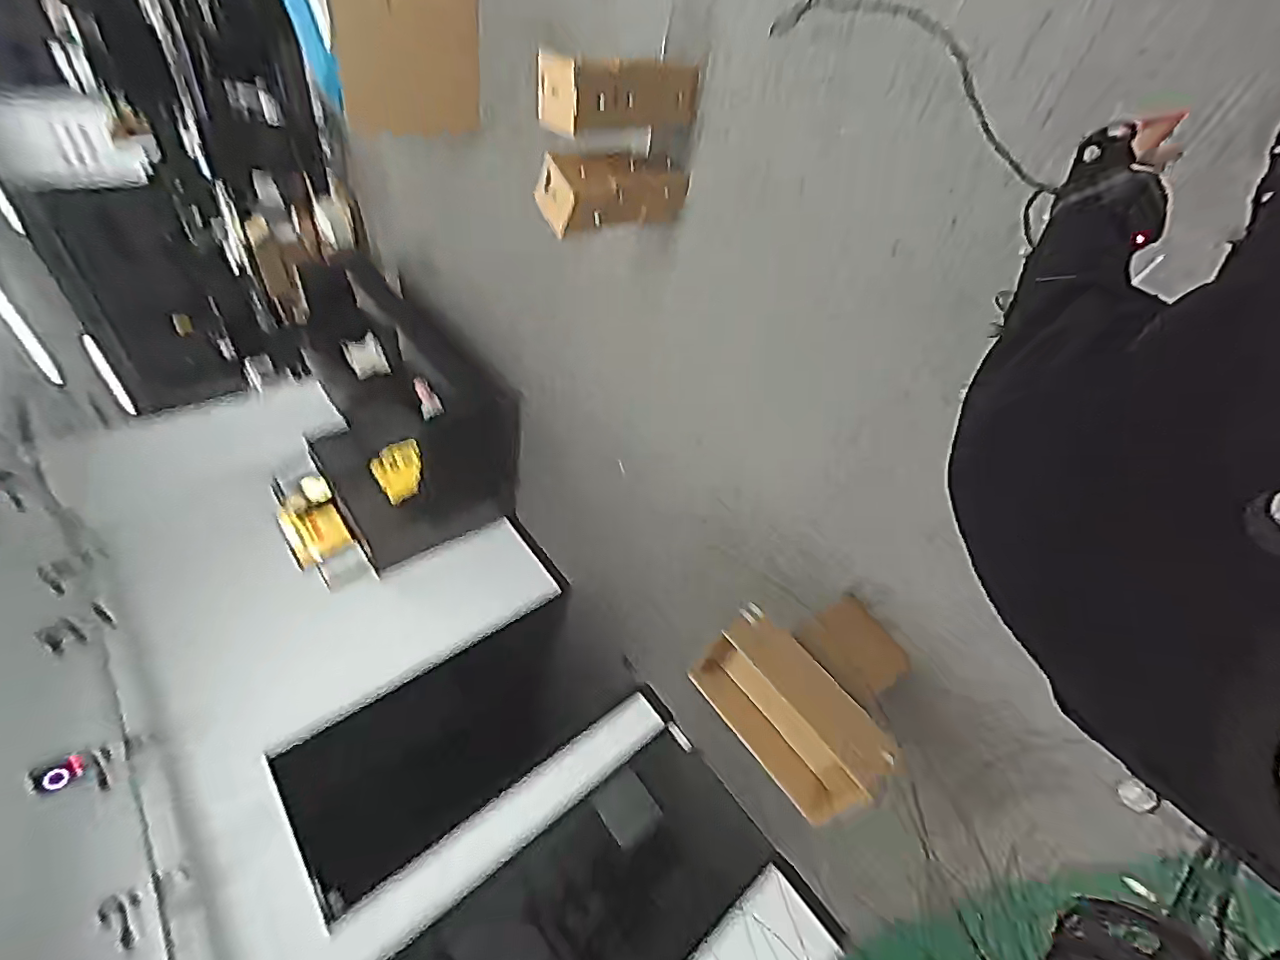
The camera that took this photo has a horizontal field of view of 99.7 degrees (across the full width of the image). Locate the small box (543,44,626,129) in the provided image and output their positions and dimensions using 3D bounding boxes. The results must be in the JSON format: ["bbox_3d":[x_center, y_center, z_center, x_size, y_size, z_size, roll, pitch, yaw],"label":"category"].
[{"bbox_3d":[-0.160,-1.127,1.545,0.179,0.176,0.168,42,142,28],"label":"small box"}]

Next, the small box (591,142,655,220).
[{"bbox_3d":[-0.075,-1.003,1.819,0.168,0.176,0.179,57,146,13],"label":"small box"}]

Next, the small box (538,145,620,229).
[{"bbox_3d":[-0.195,-0.937,1.729,0.179,0.176,0.168,59,147,8],"label":"small box"}]

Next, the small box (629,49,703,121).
[{"bbox_3d":[0.076,-1.261,1.725,0.179,0.176,0.168,41,141,33],"label":"small box"}]

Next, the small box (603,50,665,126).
[{"bbox_3d":[-0.040,-1.188,1.637,0.168,0.176,0.179,37,139,35],"label":"small box"}]
